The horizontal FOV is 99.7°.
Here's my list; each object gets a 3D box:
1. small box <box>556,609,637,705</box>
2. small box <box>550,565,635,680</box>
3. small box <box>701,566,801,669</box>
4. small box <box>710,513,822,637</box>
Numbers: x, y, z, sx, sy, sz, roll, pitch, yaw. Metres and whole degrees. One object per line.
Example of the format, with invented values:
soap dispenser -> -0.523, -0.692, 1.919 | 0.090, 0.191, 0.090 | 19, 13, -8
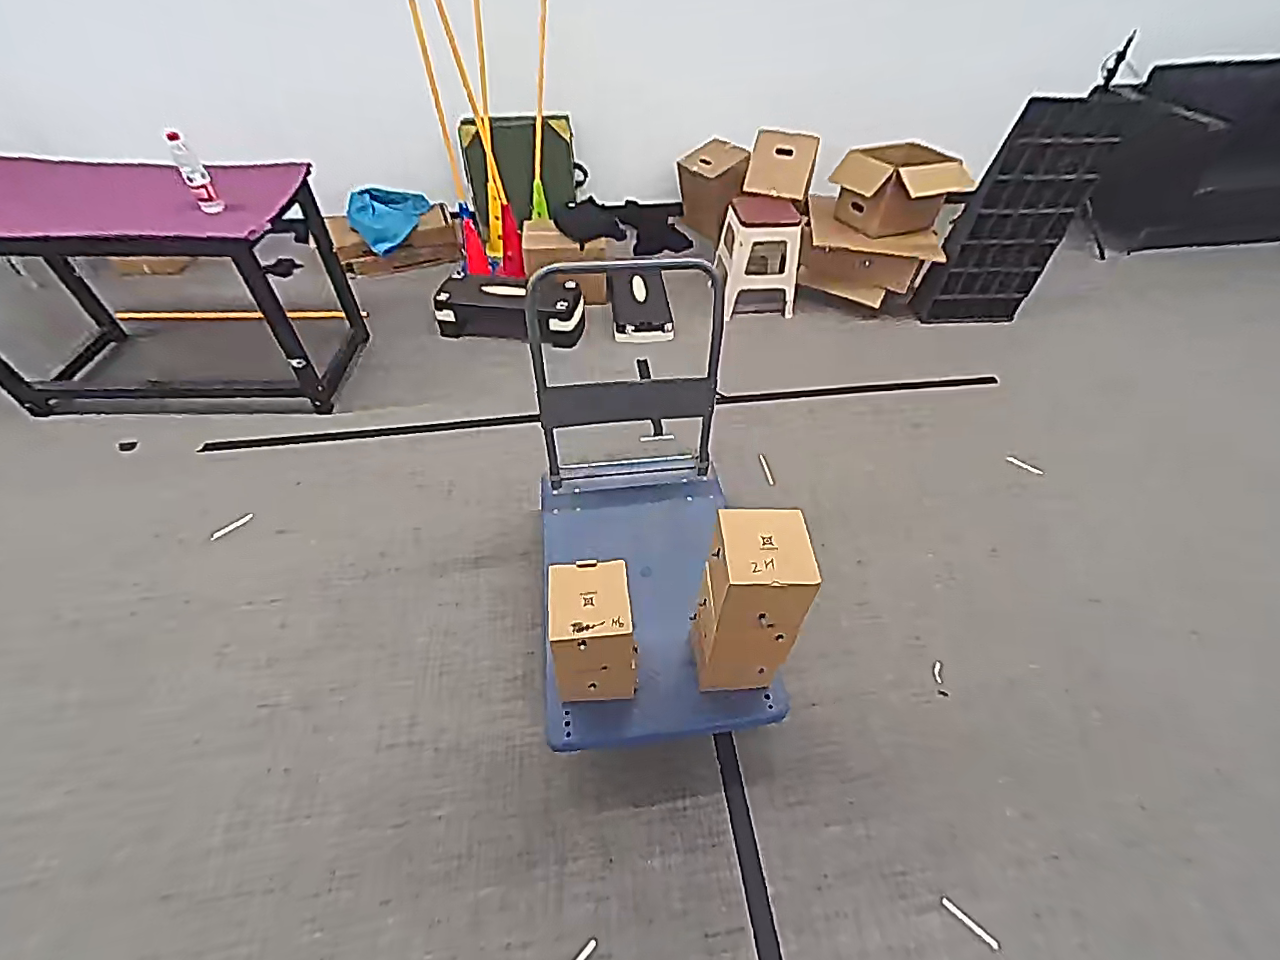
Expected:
small box -> -0.101, 0.417, 1.276 | 0.179, 0.176, 0.168 | -2, 47, -3
small box -> -0.102, 0.305, 1.156 | 0.168, 0.176, 0.179 | -4, 47, -5
small box -> 0.229, 0.300, 1.174 | 0.179, 0.176, 0.168 | 0, 47, -3
small box -> 0.234, 0.185, 1.055 | 0.168, 0.176, 0.179 | 1, 47, -2
